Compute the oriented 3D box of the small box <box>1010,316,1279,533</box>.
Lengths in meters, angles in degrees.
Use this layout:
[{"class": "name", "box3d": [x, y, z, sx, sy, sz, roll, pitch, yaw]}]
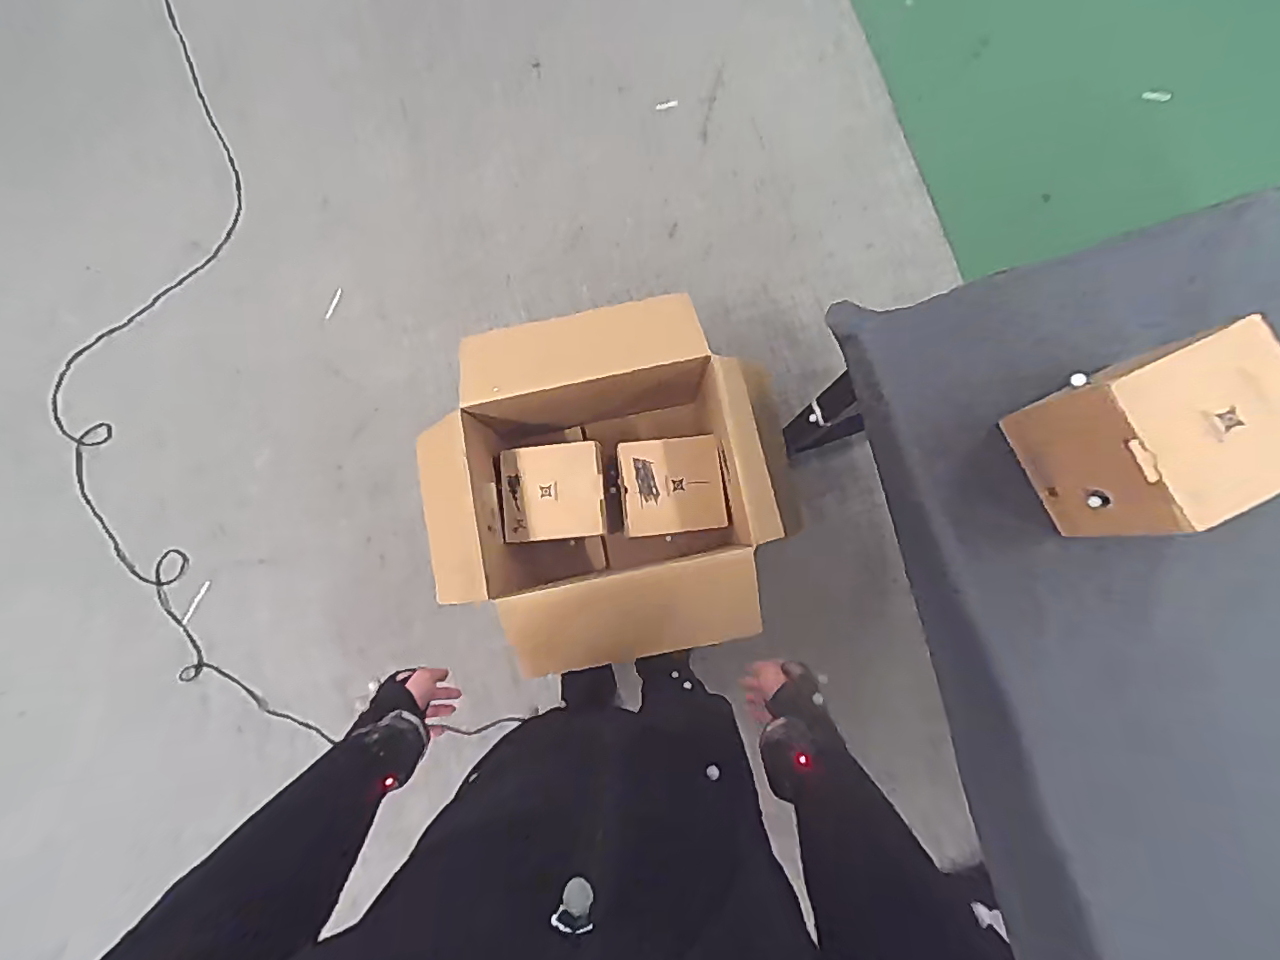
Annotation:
[{"class": "small box", "box3d": [0.564, -0.046, 0.606, 0.179, 0.176, 0.168, -26, 85, -4]}]
